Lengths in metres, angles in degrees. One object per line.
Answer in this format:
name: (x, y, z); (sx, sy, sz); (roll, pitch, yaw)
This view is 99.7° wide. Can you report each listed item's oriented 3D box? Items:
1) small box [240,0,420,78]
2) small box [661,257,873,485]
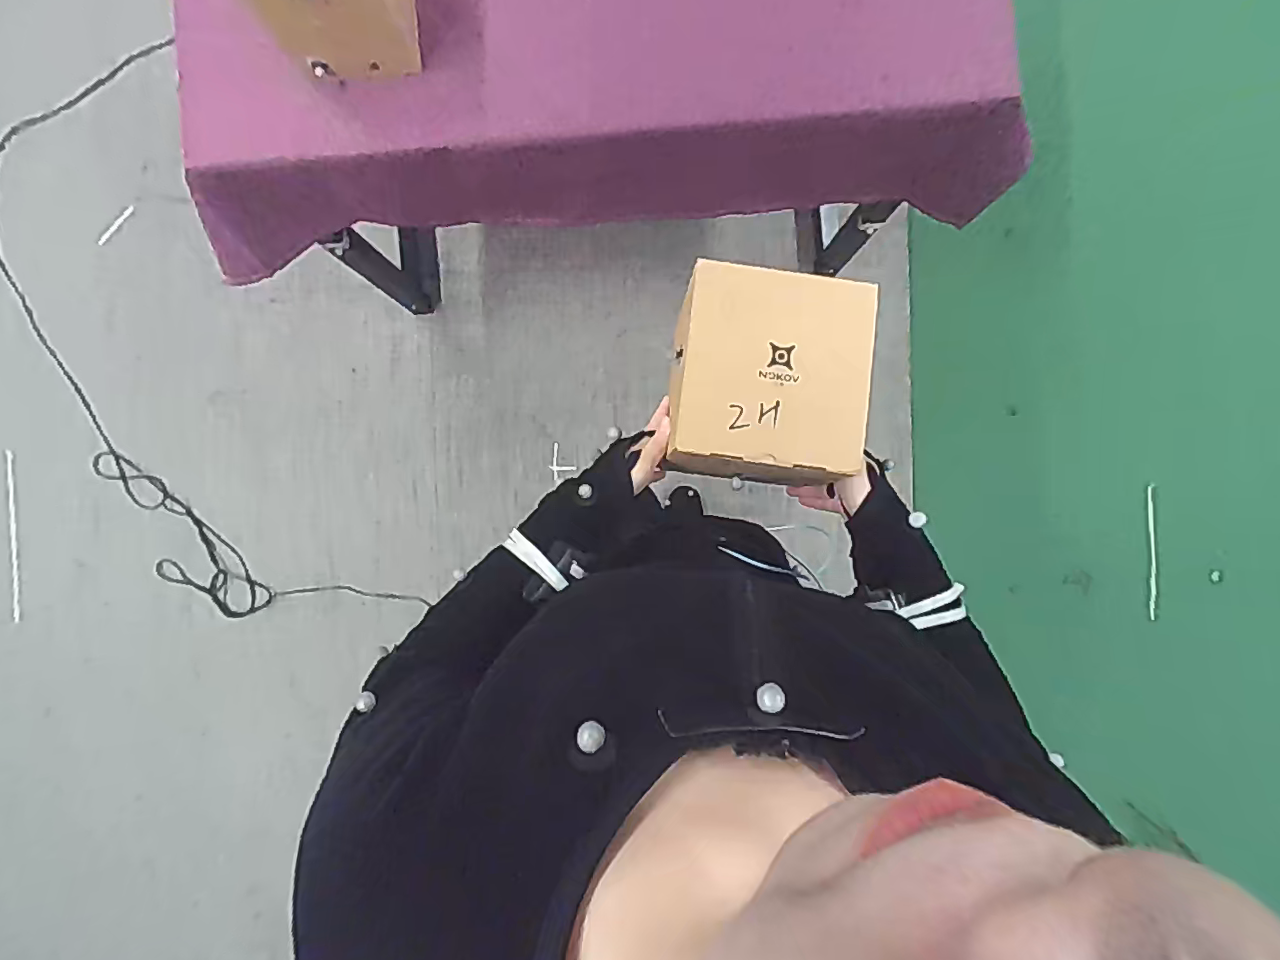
small box: (-0.402, -0.661, 0.700); (0.168, 0.176, 0.179); (-6, 88, 0)
small box: (0.115, -0.095, 0.553); (0.168, 0.176, 0.179); (7, 86, -1)
